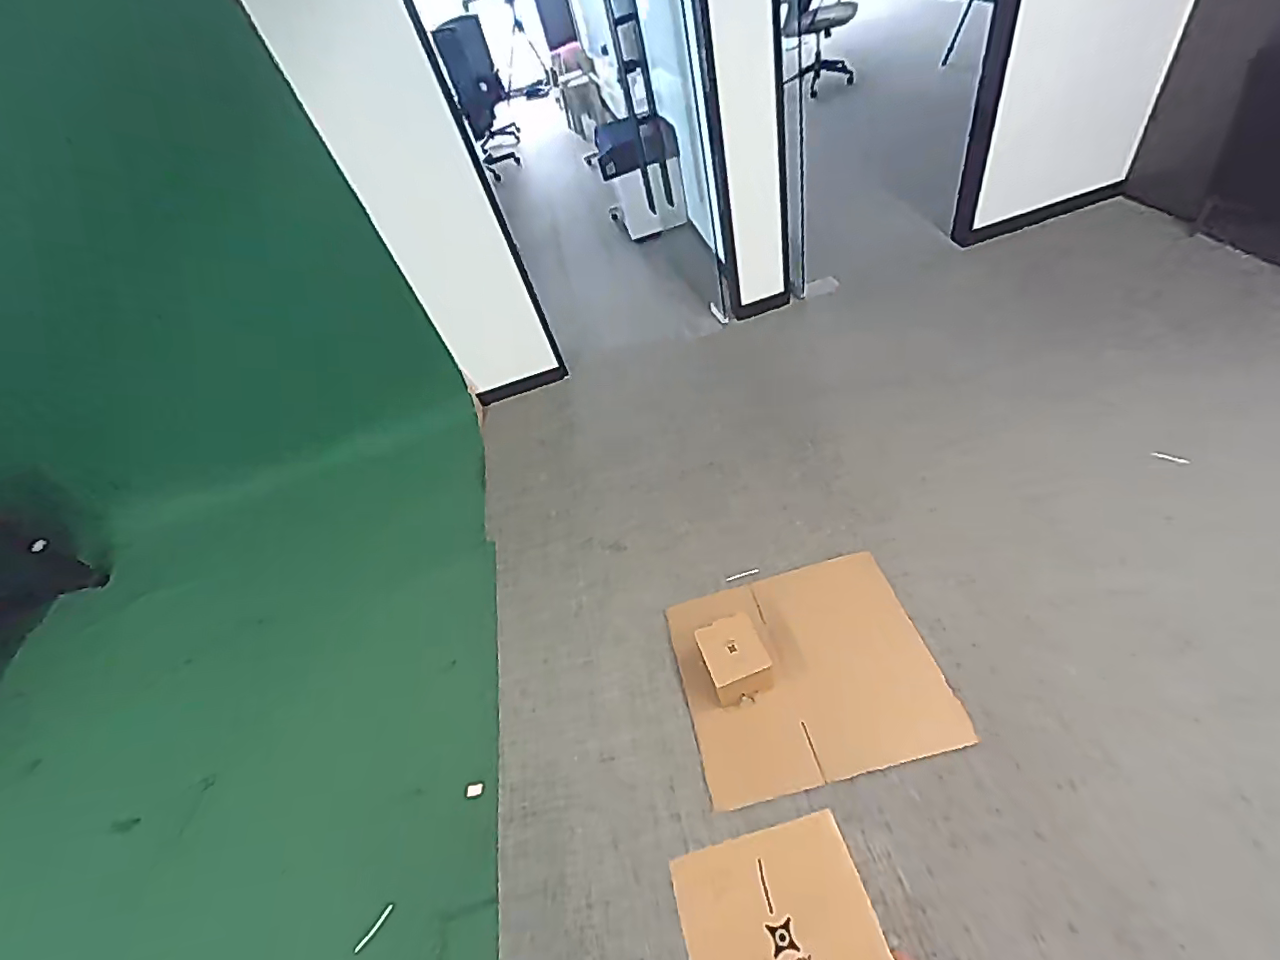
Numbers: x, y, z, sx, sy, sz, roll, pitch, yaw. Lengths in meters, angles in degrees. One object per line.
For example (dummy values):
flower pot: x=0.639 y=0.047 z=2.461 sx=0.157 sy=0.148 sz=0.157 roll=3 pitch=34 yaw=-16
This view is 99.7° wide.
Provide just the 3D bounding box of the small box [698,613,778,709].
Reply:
small box: x=0.279 y=0.516 z=1.535 sx=0.168 sy=0.176 sz=0.179 roll=-21 pitch=47 yaw=-1

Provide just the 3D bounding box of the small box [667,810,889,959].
small box: x=0.140 y=0.445 z=0.502 sx=0.168 sy=0.176 sz=0.179 roll=-20 pitch=43 yaw=2
